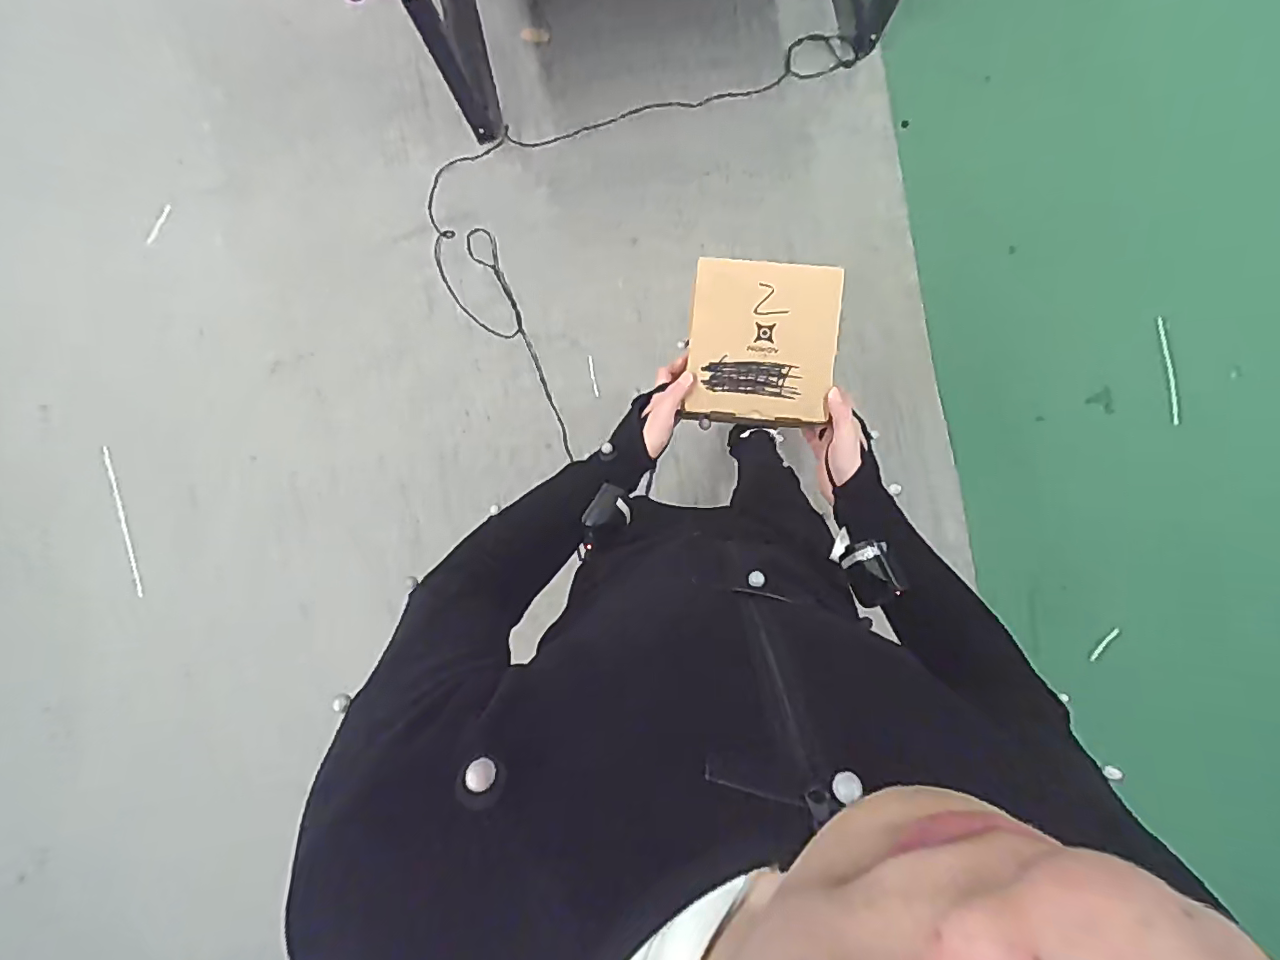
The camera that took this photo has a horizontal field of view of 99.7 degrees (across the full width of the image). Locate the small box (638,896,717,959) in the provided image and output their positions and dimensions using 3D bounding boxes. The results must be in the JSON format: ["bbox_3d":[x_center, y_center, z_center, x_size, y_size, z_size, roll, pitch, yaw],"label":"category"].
[{"bbox_3d":[0.086,1.067,1.191,0.168,0.176,0.179,-5,90,1],"label":"small box"}]
